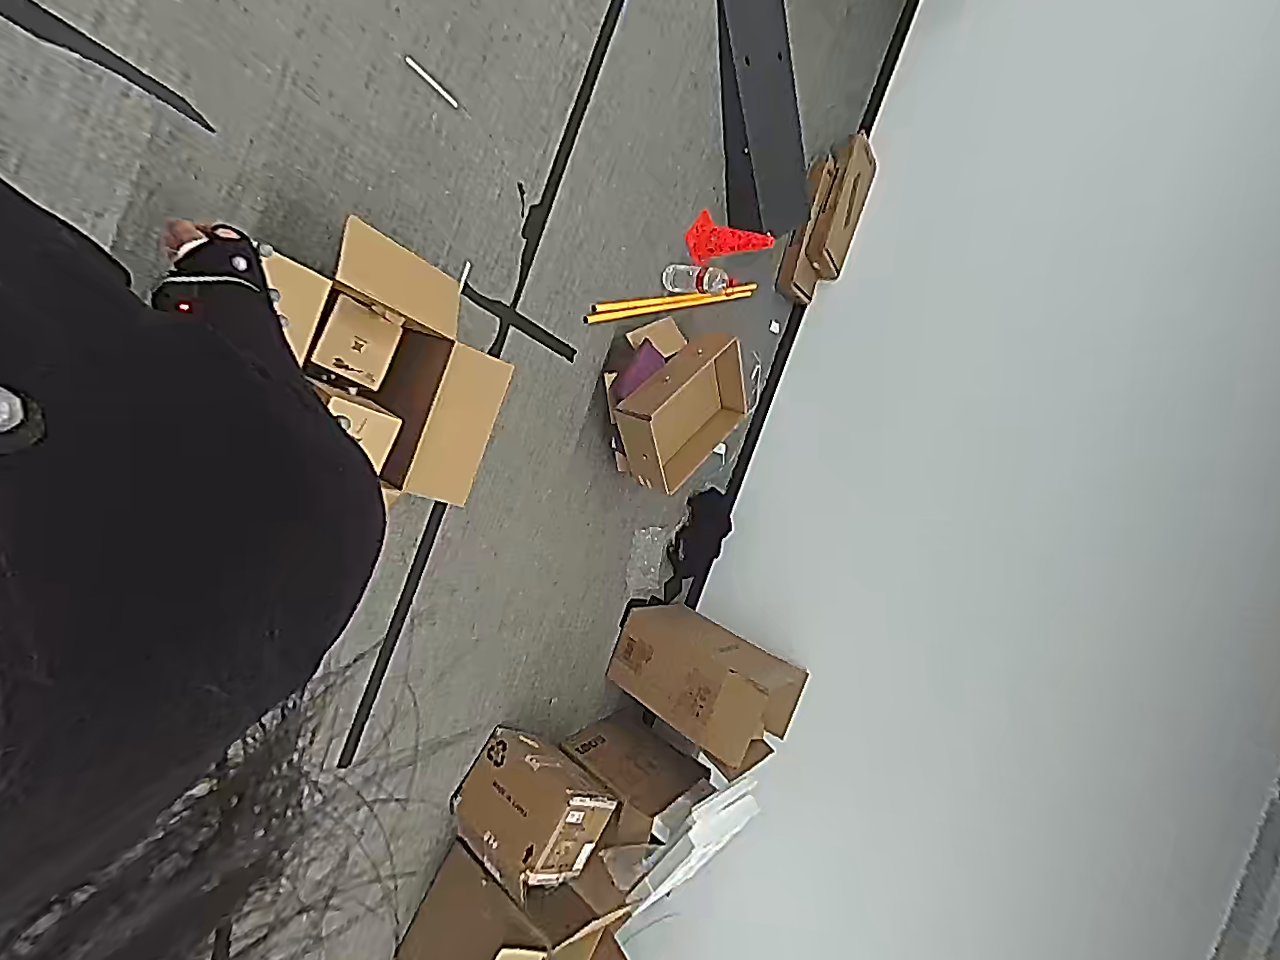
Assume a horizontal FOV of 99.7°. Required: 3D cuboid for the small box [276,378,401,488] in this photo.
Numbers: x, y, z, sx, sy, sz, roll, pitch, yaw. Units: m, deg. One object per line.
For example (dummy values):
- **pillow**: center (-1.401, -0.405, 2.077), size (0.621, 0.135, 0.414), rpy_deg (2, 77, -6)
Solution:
- **small box**: center (-0.681, -0.105, 1.215), size (0.168, 0.176, 0.179), rpy_deg (24, 91, -55)
